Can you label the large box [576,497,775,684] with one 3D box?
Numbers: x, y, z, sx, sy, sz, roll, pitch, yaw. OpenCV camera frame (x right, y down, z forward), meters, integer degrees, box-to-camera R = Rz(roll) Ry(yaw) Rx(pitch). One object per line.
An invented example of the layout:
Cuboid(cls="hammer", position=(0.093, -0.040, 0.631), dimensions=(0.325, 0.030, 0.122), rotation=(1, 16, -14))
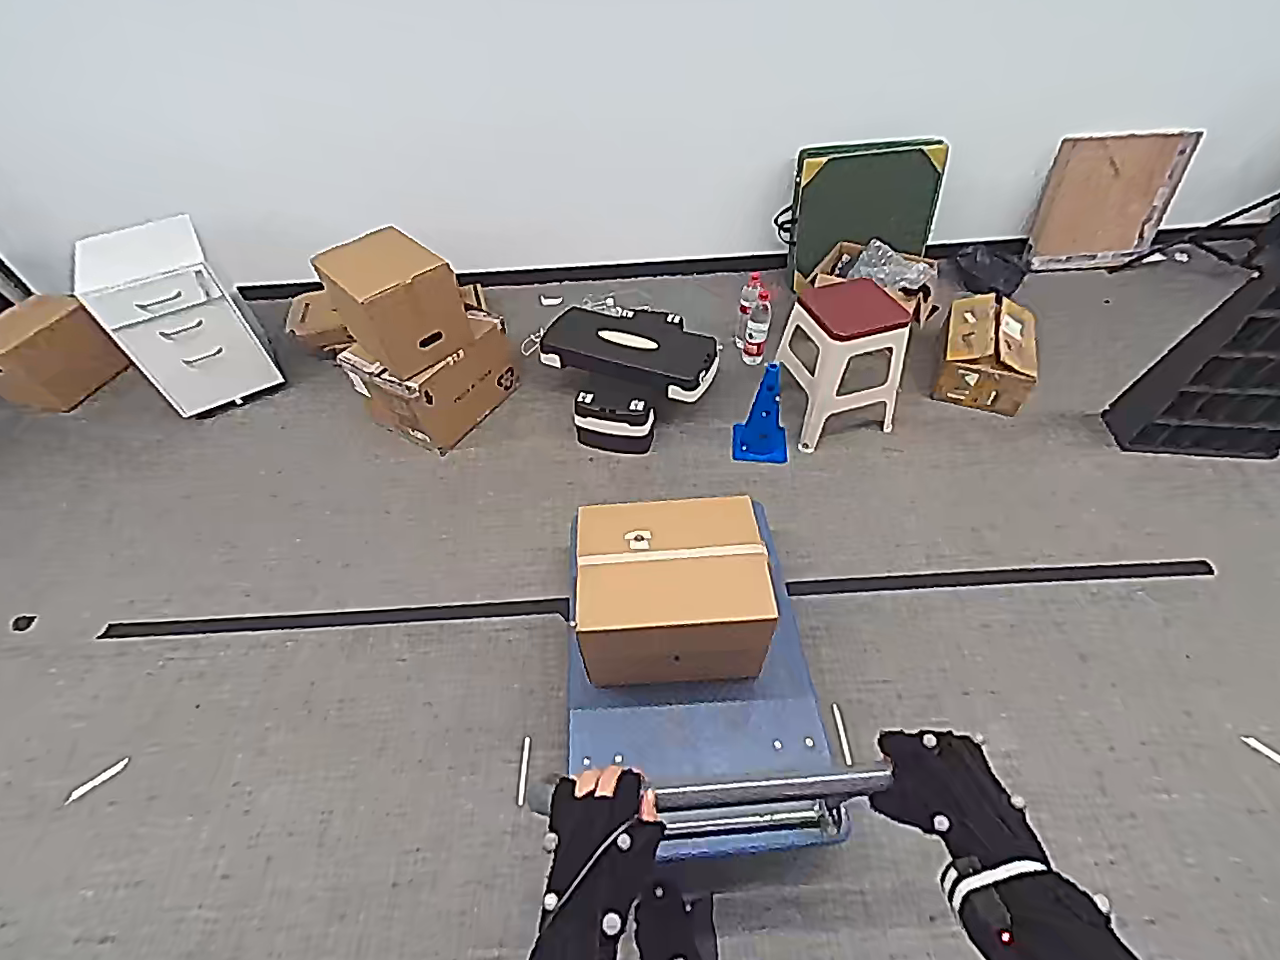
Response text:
Cuboid(cls="large box", position=(0.071, 0.268, 1.278), dimensions=(0.408, 0.320, 0.320), rotation=(-4, 50, 0))
